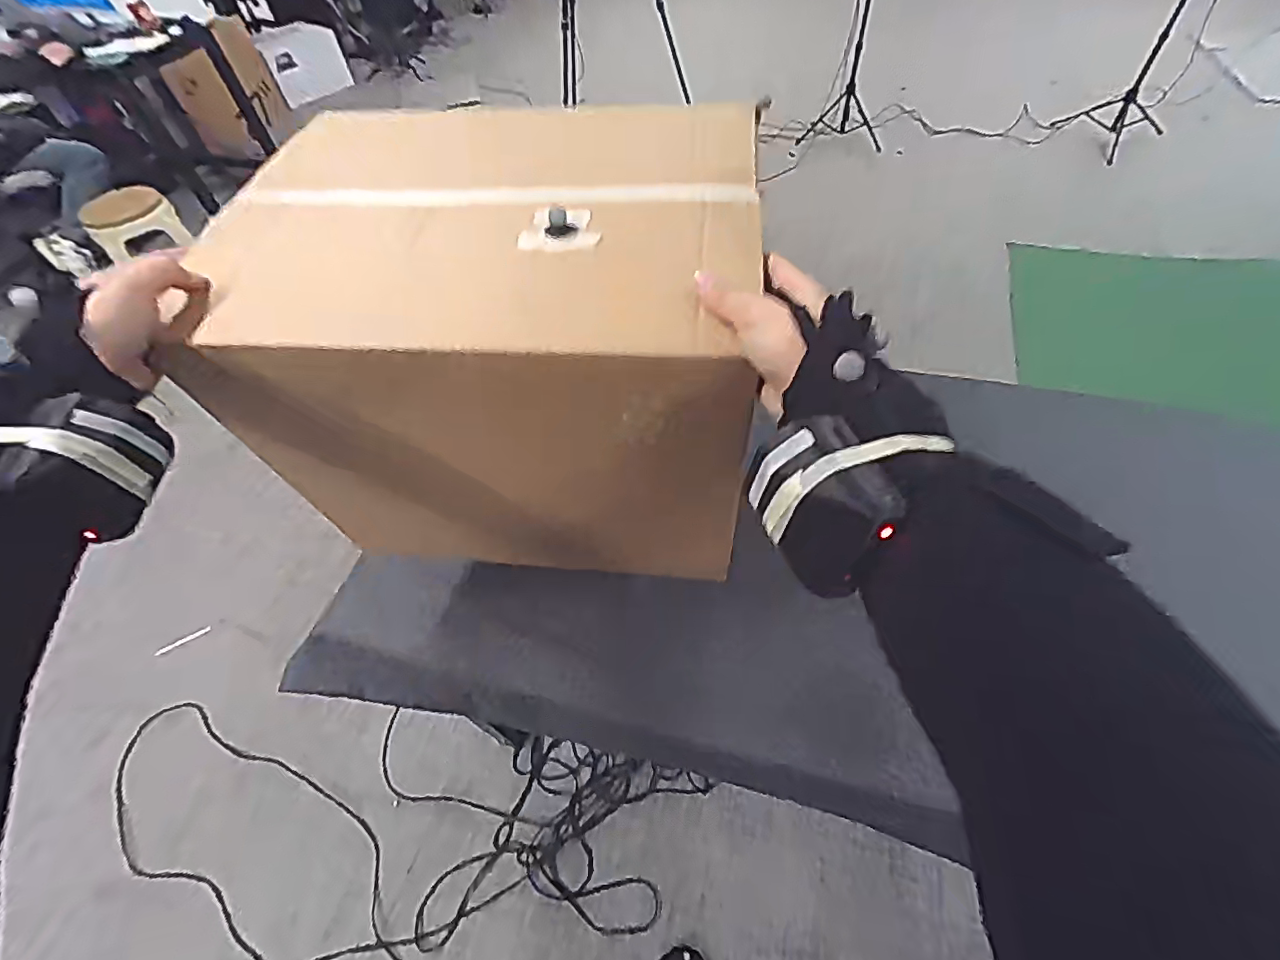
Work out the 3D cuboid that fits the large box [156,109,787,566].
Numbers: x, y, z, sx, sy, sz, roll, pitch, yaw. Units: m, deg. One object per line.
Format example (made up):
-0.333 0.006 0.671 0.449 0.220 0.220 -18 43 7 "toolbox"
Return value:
-0.094 -0.125 0.531 0.408 0.320 0.320 3 58 5 "large box"
